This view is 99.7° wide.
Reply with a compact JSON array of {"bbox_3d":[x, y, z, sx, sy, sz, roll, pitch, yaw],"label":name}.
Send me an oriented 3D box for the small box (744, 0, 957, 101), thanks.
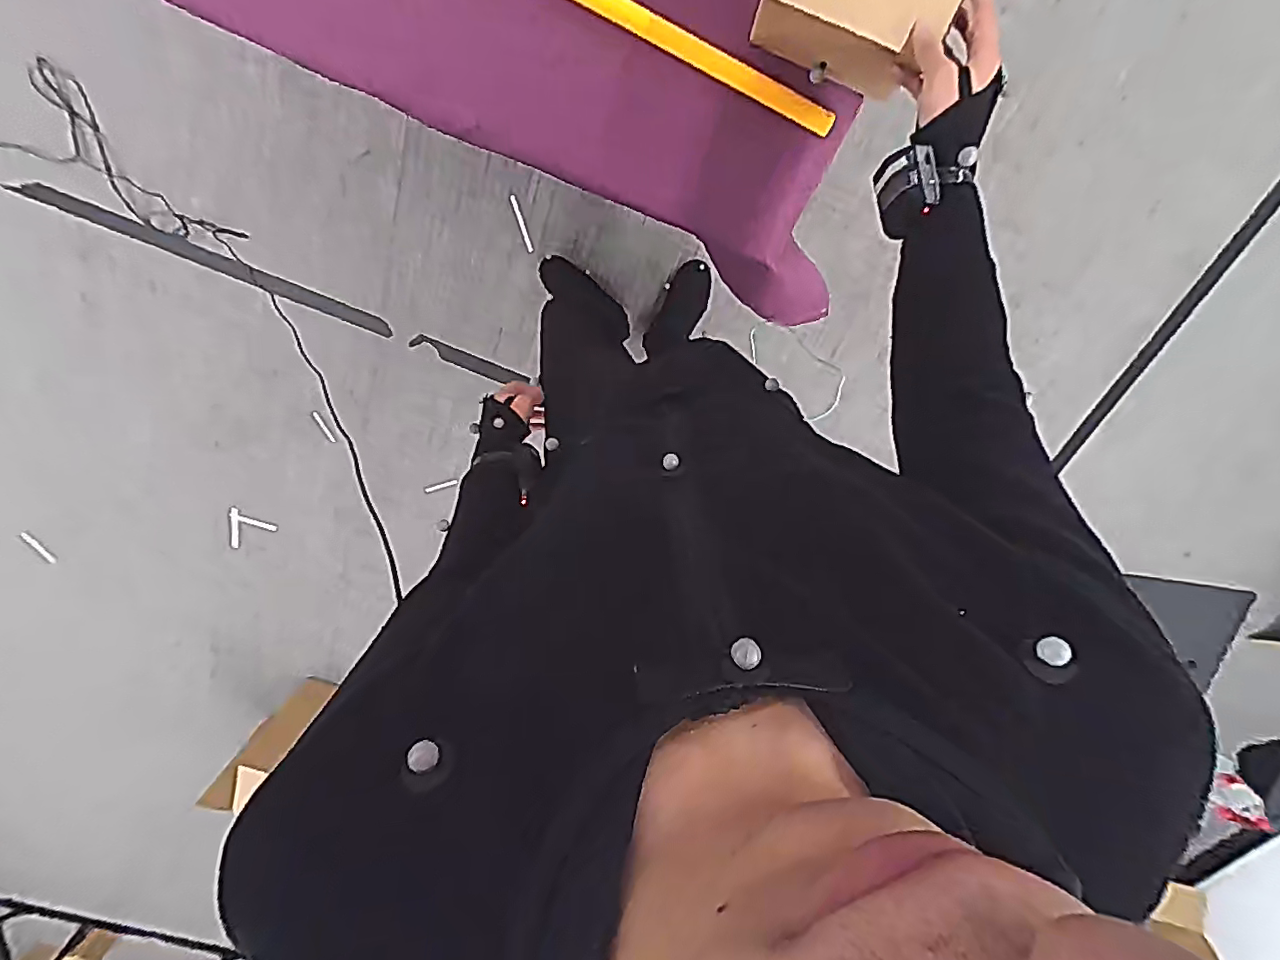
[{"bbox_3d":[0.223,-0.519,0.555,0.179,0.176,0.168,21,117,-5],"label":"small box"}]
